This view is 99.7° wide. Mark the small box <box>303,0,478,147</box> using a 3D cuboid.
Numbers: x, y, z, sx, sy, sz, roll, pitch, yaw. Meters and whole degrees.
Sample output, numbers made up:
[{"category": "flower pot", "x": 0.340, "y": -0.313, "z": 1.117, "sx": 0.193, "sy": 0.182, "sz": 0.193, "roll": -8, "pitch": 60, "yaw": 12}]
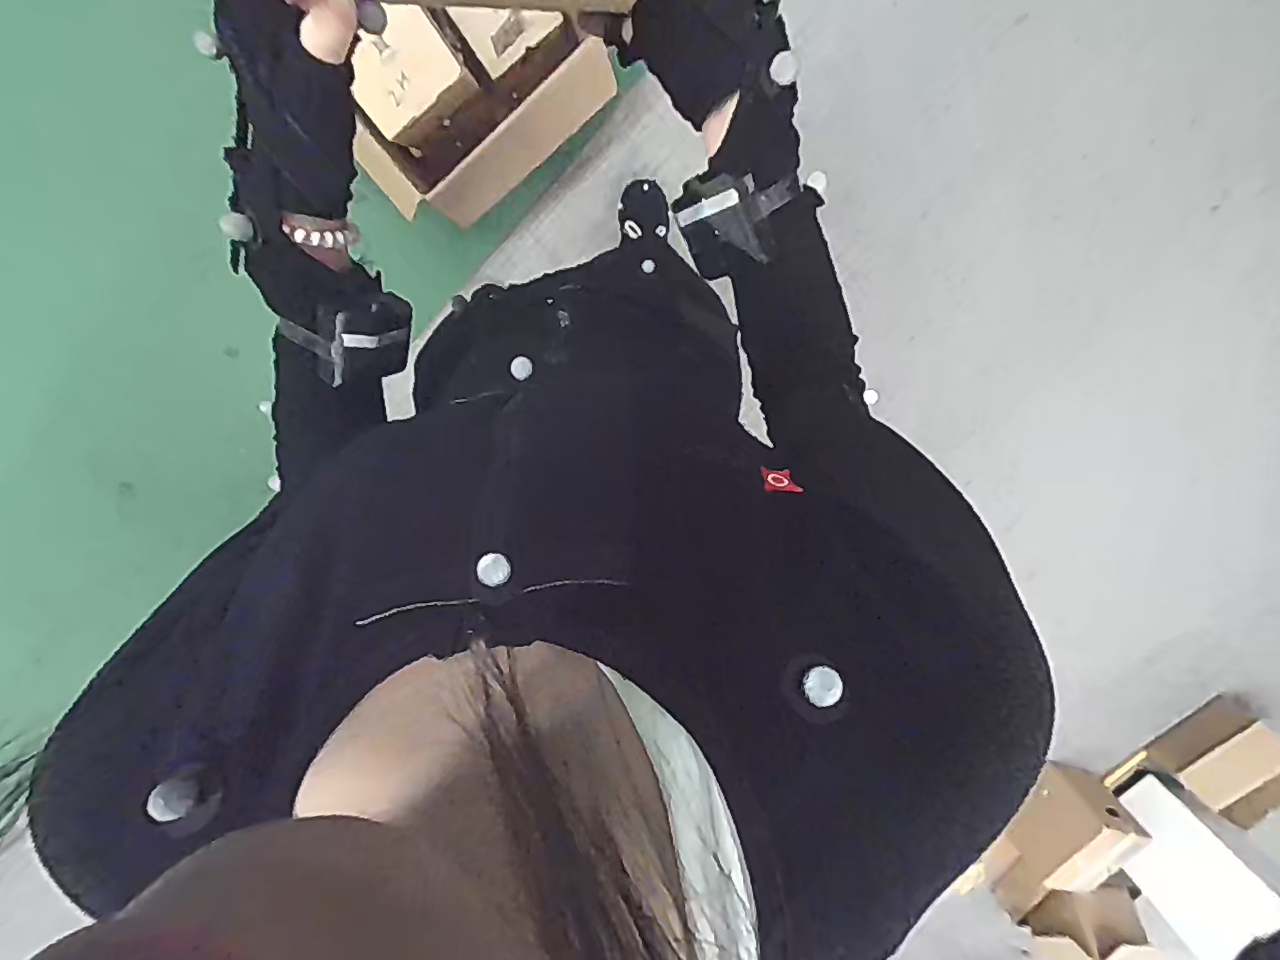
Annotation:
[{"category": "small box", "x": -0.396, "y": -0.686, "z": 0.894, "sx": 0.168, "sy": 0.176, "sz": 0.179, "roll": -33, "pitch": 116, "yaw": 11}]
